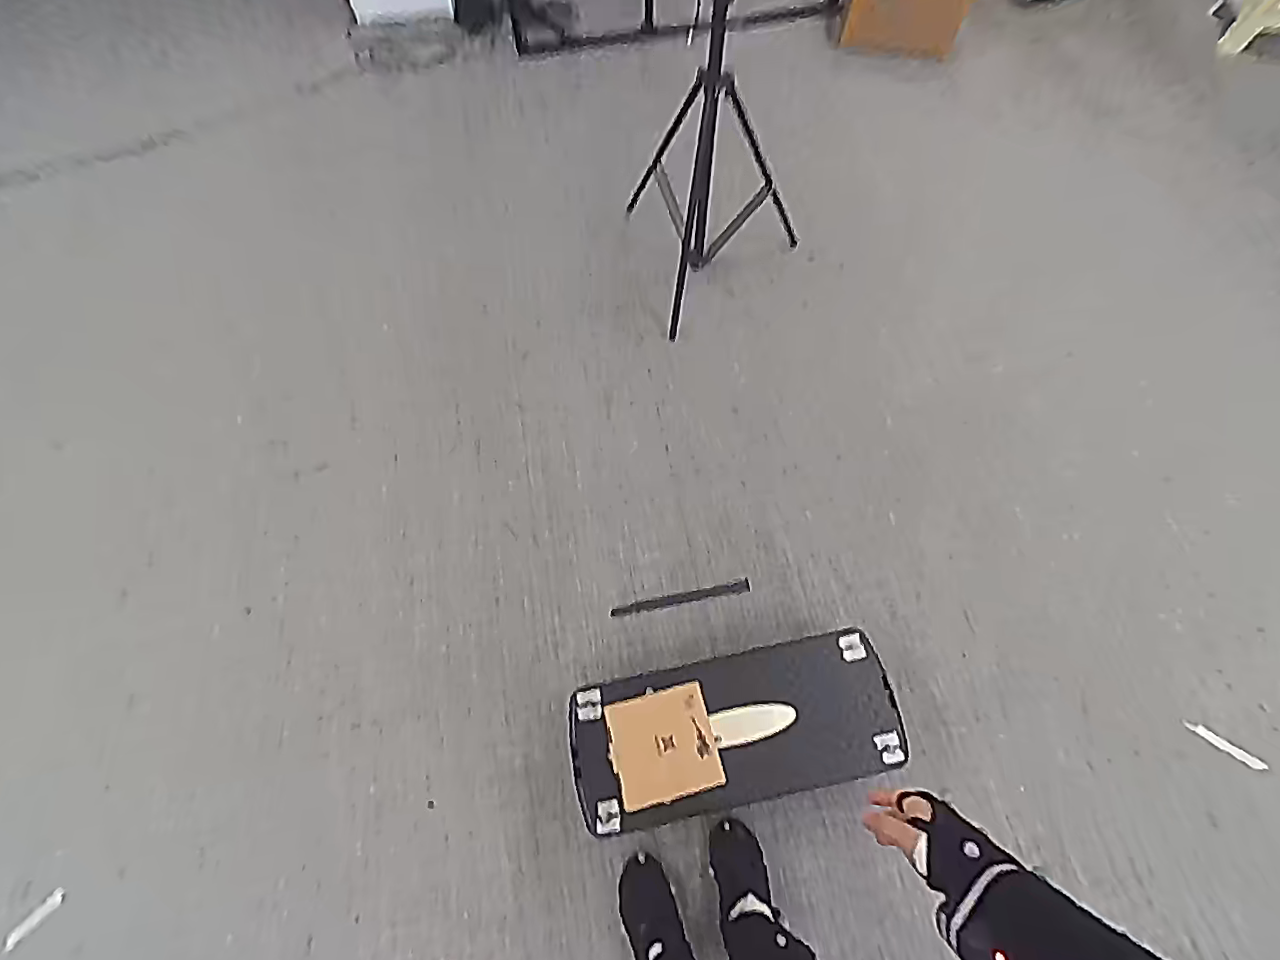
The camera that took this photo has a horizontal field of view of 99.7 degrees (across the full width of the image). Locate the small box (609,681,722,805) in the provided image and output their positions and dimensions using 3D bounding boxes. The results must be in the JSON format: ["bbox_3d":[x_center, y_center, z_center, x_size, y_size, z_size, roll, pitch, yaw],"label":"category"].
[{"bbox_3d":[0.041,0.486,1.009,0.179,0.176,0.168,-14,66,-4],"label":"small box"}]

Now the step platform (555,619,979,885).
[{"bbox_3d":[0.203,0.471,0.972,0.684,0.204,0.286,-11,65,-4],"label":"step platform"}]
